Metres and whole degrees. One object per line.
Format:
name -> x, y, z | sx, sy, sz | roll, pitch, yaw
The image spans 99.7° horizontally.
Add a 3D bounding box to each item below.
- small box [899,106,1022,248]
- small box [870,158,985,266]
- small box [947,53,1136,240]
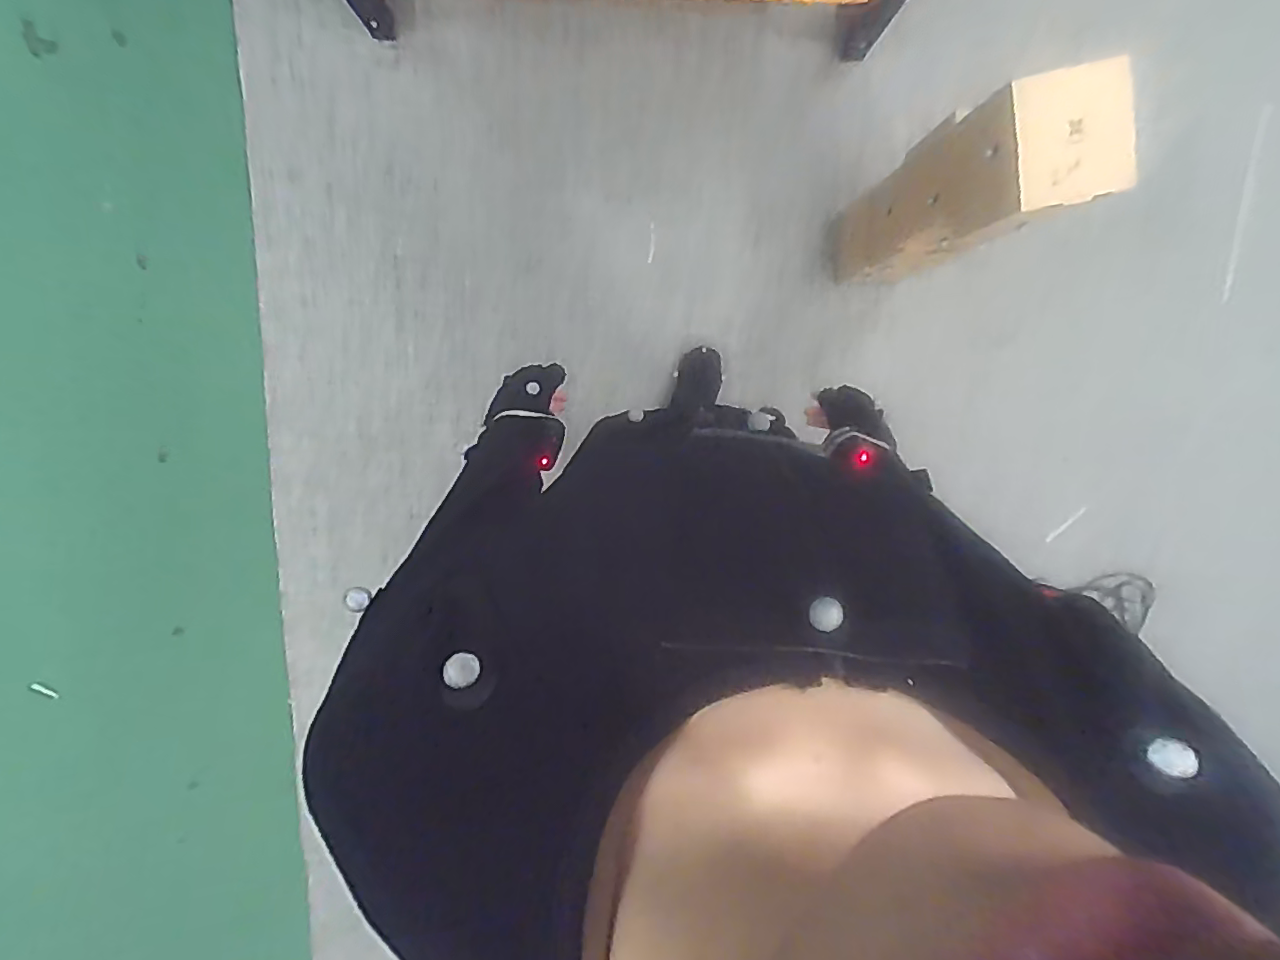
small box -> 0.592, -0.536, 0.977 | 0.168, 0.176, 0.179 | 2, 100, -1
small box -> 0.602, -0.557, 1.139 | 0.168, 0.176, 0.179 | -1, 99, -1
small box -> 0.594, -0.489, 0.820 | 0.168, 0.176, 0.179 | -11, 101, 2
